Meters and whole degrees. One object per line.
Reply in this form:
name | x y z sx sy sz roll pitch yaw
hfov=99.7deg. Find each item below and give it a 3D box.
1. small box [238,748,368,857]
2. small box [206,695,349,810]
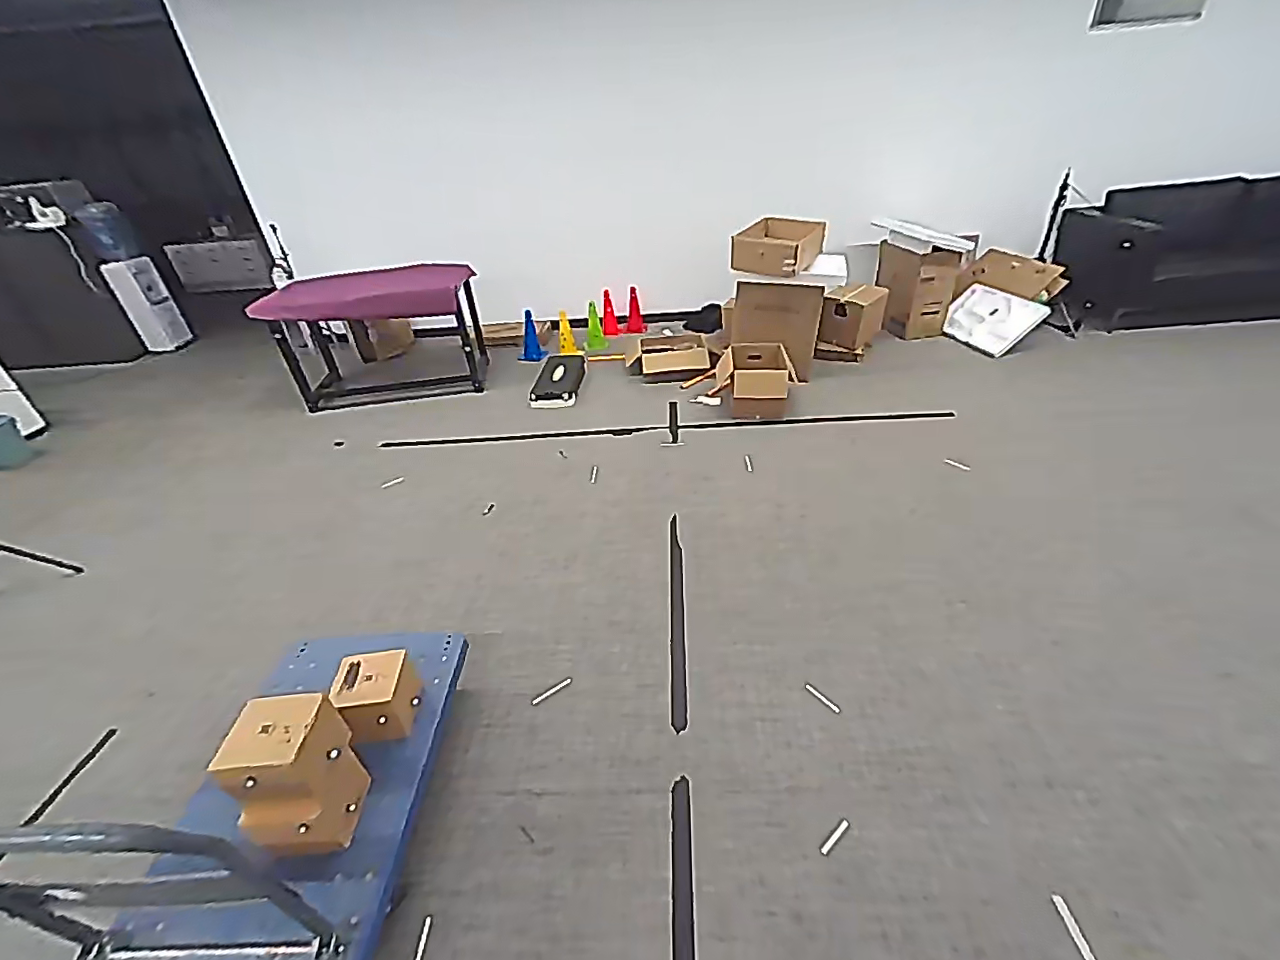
small box | -0.774 0.753 1.263 0.179 0.176 0.168 -5 34 -1
small box | -0.785 0.602 1.193 0.179 0.176 0.168 -4 34 -1
